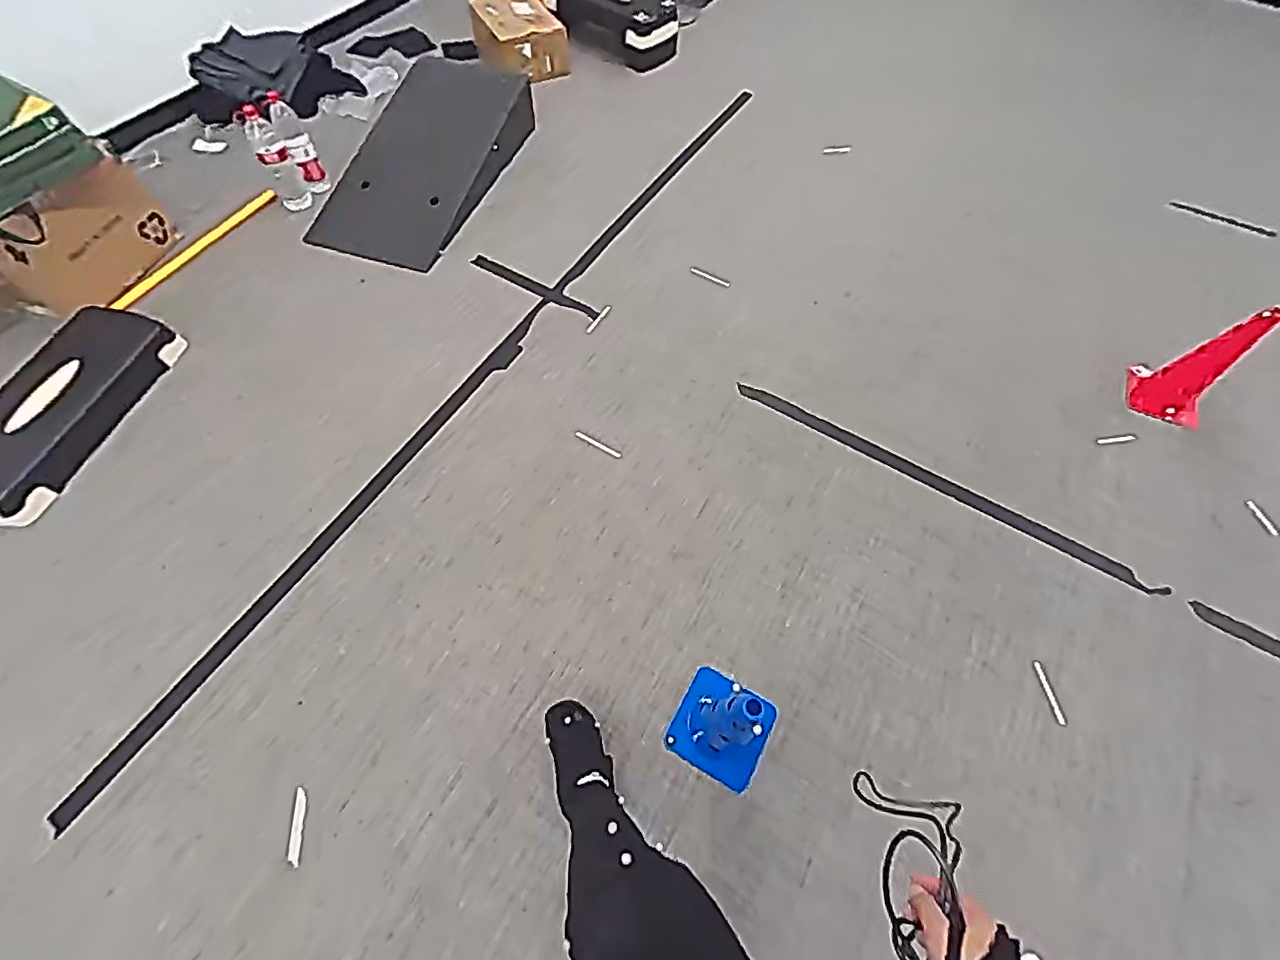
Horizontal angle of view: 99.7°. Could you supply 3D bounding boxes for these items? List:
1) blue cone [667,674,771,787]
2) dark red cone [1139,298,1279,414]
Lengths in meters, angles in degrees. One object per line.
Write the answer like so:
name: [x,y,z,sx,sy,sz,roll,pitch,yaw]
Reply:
blue cone: [0.179,0.466,1.045,0.193,0.380,0.192,29,65,14]
dark red cone: [1.649,-0.377,1.523,0.202,0.394,0.201,21,64,10]
